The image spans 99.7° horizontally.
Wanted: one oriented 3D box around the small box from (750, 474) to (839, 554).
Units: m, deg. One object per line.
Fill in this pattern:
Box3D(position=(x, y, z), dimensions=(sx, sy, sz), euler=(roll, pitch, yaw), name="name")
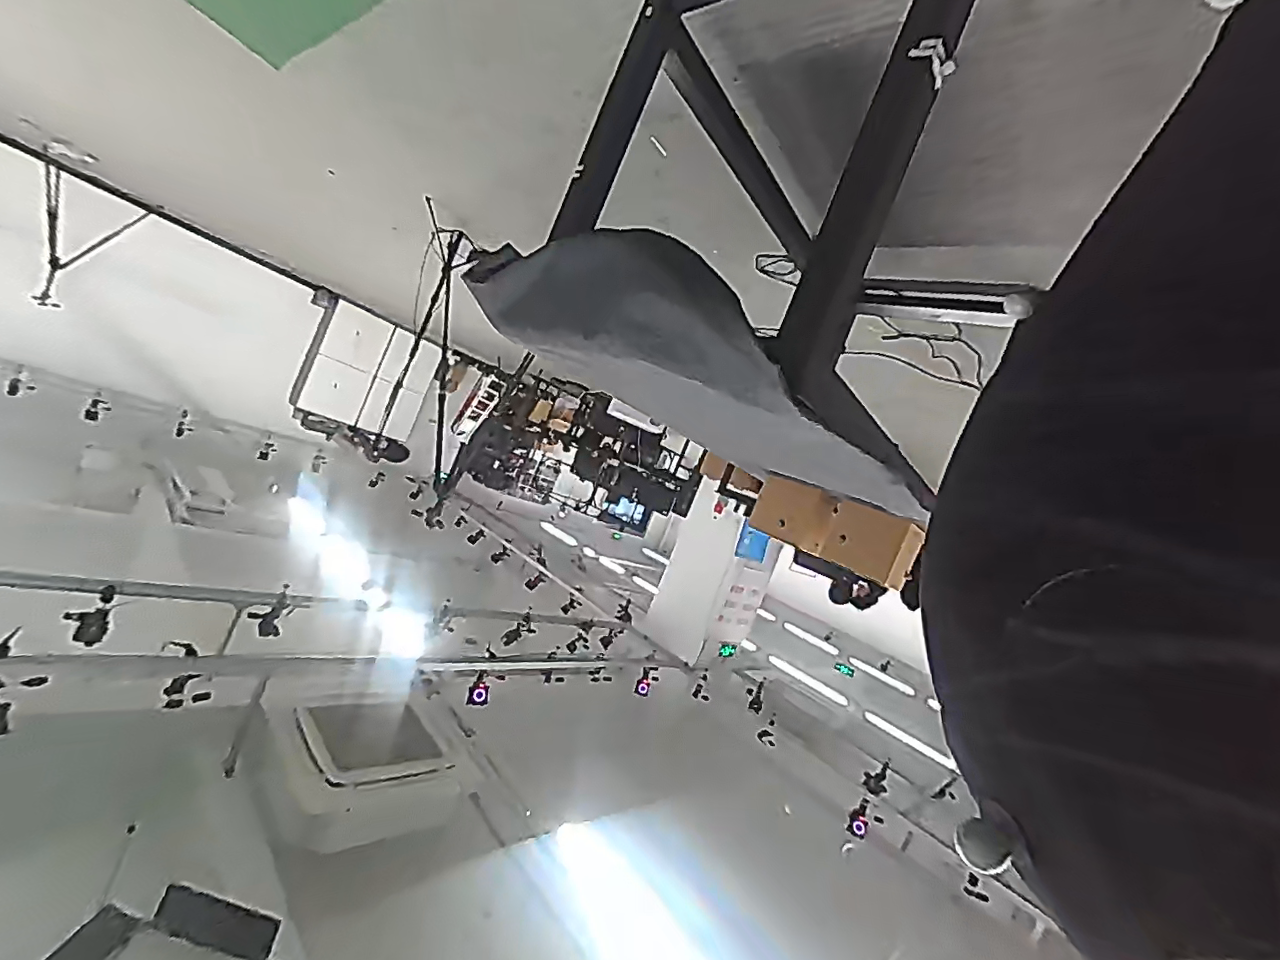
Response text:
Box3D(position=(0.450, 0.094, 1.552), dimensions=(0.179, 0.176, 0.168), euler=(23, 180, 42), name="small box")
